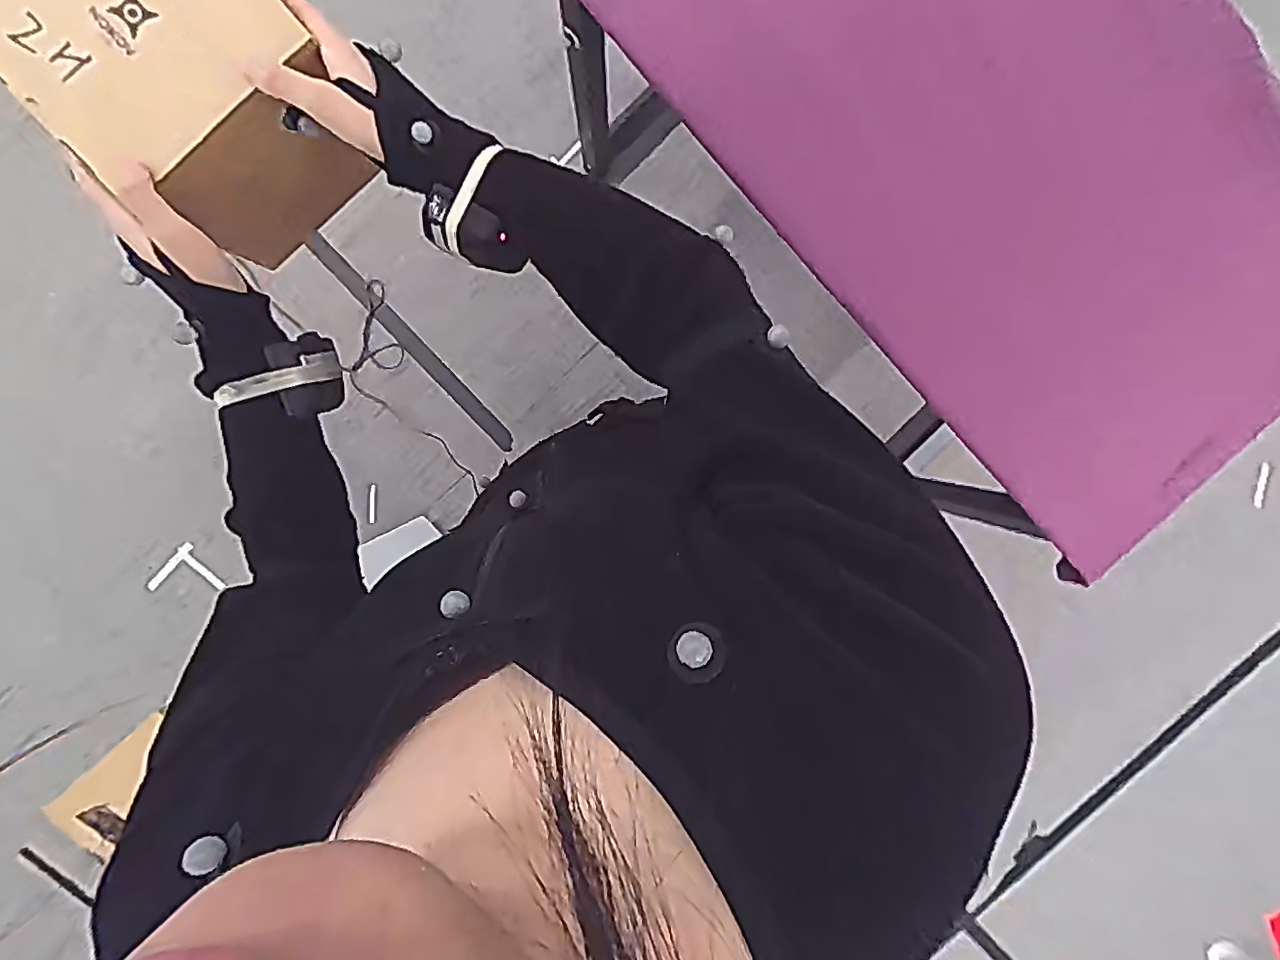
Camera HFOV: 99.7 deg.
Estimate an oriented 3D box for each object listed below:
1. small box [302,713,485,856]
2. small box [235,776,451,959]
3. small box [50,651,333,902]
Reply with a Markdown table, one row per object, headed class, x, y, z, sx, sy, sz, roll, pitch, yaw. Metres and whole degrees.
| class | x | y | z | sx | sy | sz | roll | pitch | yaw |
| --- | --- | --- | --- | --- | --- | --- | --- | --- | --- |
| small box | -0.378 | 0.521 | 0.867 | 0.179 | 0.176 | 0.168 | -42 | 97 | 5 |
| small box | -0.373 | 0.538 | 0.706 | 0.179 | 0.176 | 0.168 | -44 | 96 | 4 |
| small box | -0.536 | 0.354 | 0.677 | 0.179 | 0.176 | 0.168 | -41 | 97 | 2 |
